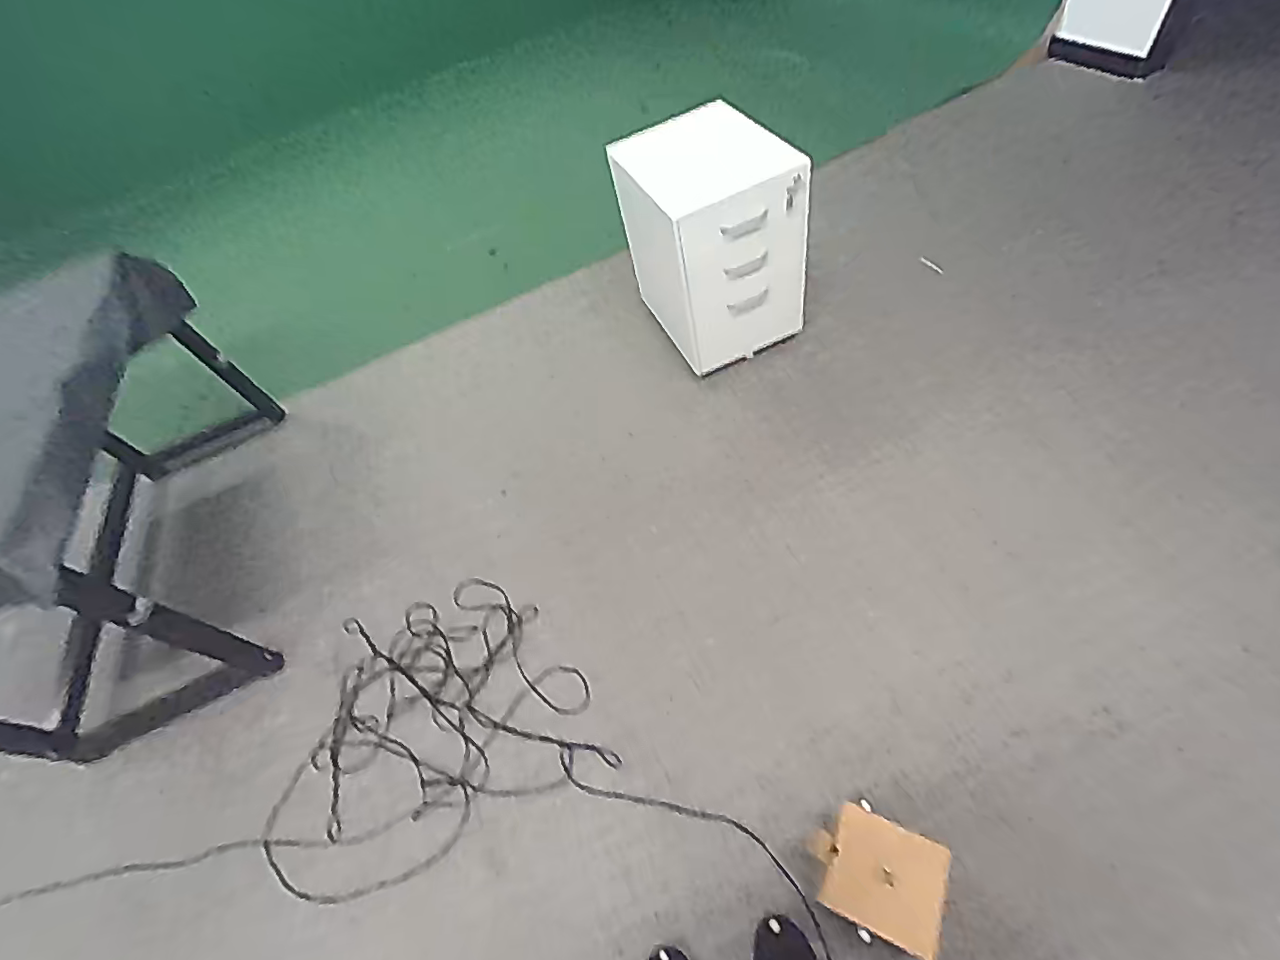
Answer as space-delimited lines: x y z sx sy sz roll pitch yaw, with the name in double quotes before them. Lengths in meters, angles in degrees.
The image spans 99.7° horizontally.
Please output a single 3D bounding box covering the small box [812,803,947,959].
"small box" 0.420 0.707 0.968 0.179 0.176 0.168 16 61 23
